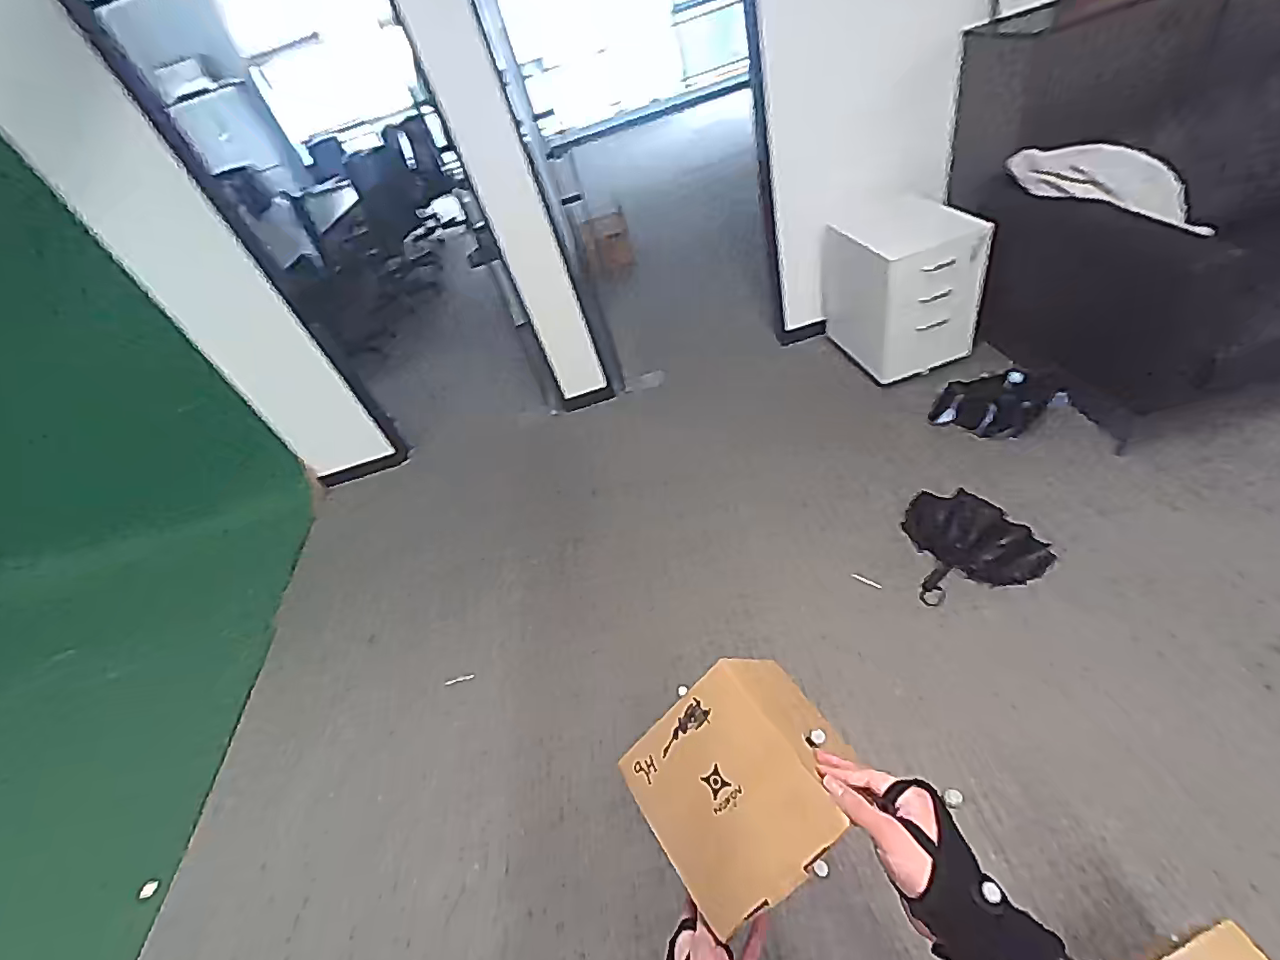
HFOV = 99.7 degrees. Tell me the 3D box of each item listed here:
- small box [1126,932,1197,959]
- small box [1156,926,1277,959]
[{"bbox_3d":[0.924,0.918,0.918,0.179,0.176,0.168,-25,43,-7],"label":"small box"},{"bbox_3d":[0.880,0.808,0.804,0.179,0.176,0.168,-26,42,-4],"label":"small box"}]
